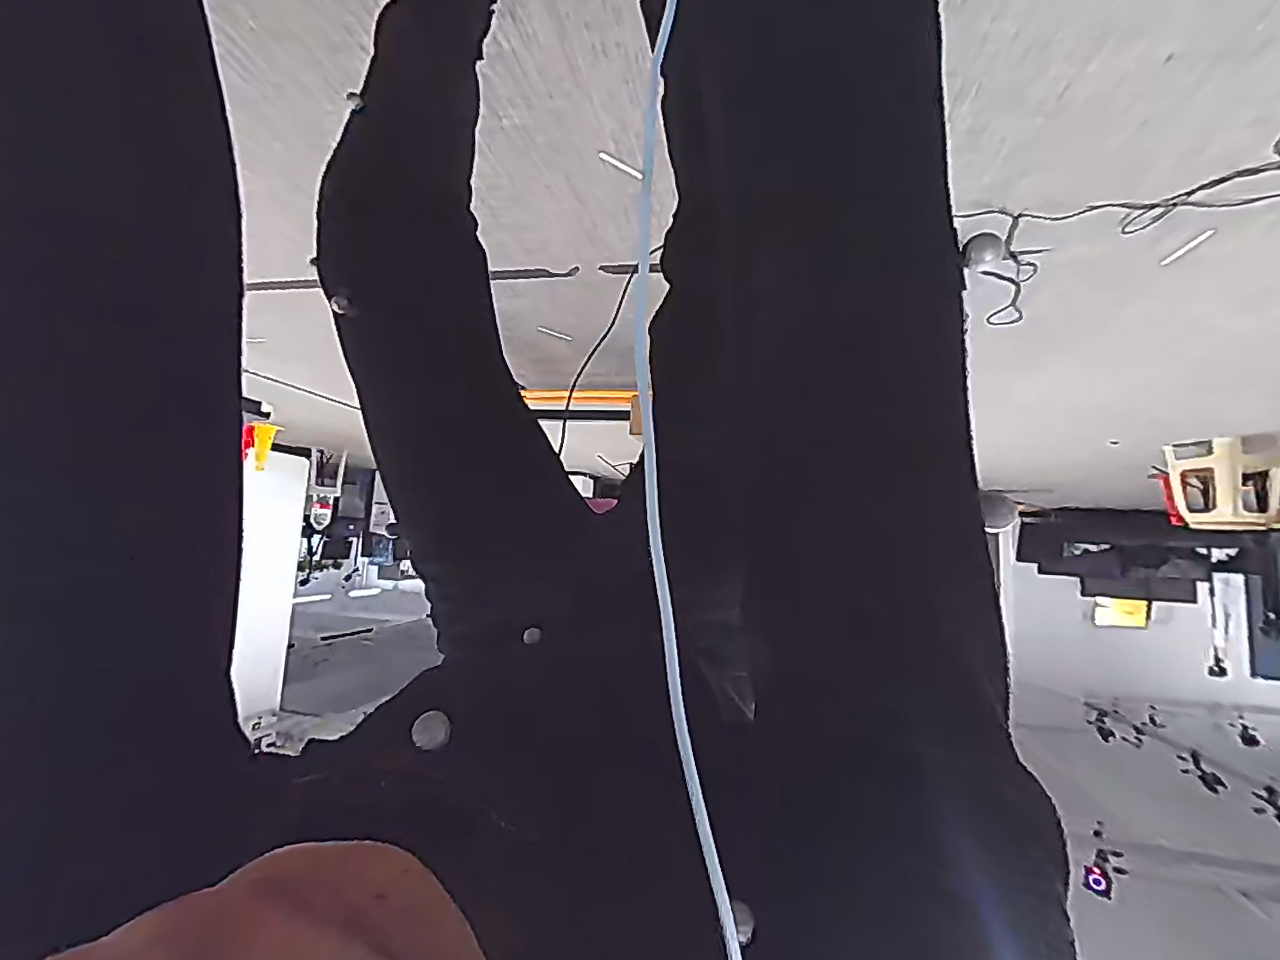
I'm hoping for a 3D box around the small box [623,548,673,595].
[{"bbox_3d":[0.033,0.357,2.135,0.168,0.176,0.179,2,174,13],"label":"small box"}]

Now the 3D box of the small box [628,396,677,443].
[{"bbox_3d":[0.057,-0.250,2.239,0.179,0.176,0.168,4,174,15],"label":"small box"}]
